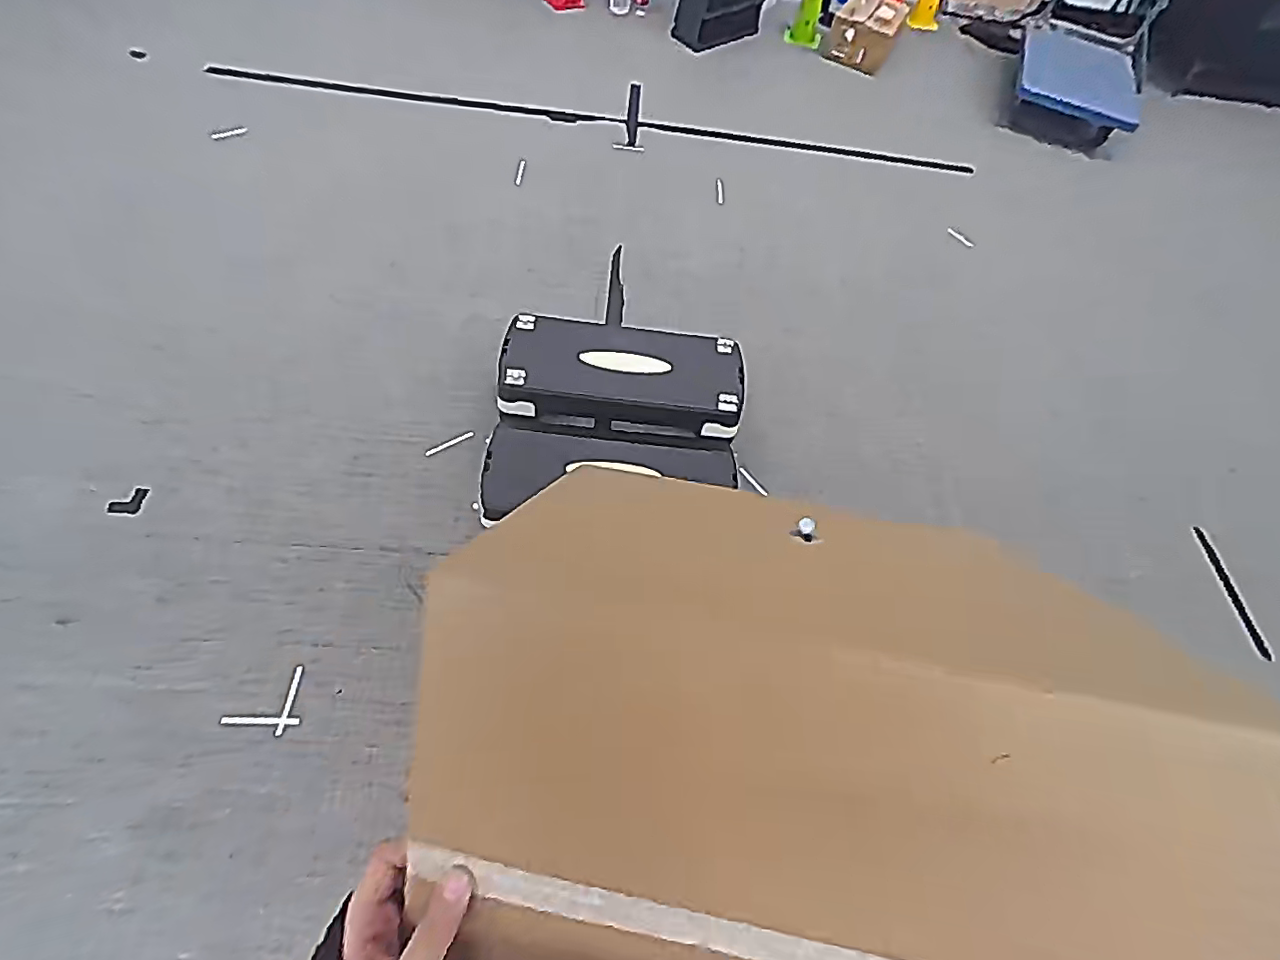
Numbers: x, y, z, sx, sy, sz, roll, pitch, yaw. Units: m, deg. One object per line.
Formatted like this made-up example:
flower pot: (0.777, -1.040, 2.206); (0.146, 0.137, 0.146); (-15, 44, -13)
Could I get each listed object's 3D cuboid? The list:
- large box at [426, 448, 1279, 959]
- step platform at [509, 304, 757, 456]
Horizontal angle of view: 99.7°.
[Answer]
large box: (0.106, 0.167, 0.406); (0.408, 0.320, 0.320); (9, 103, 5)
step platform: (-0.017, -0.283, 1.535); (0.684, 0.204, 0.286); (11, 60, -2)
